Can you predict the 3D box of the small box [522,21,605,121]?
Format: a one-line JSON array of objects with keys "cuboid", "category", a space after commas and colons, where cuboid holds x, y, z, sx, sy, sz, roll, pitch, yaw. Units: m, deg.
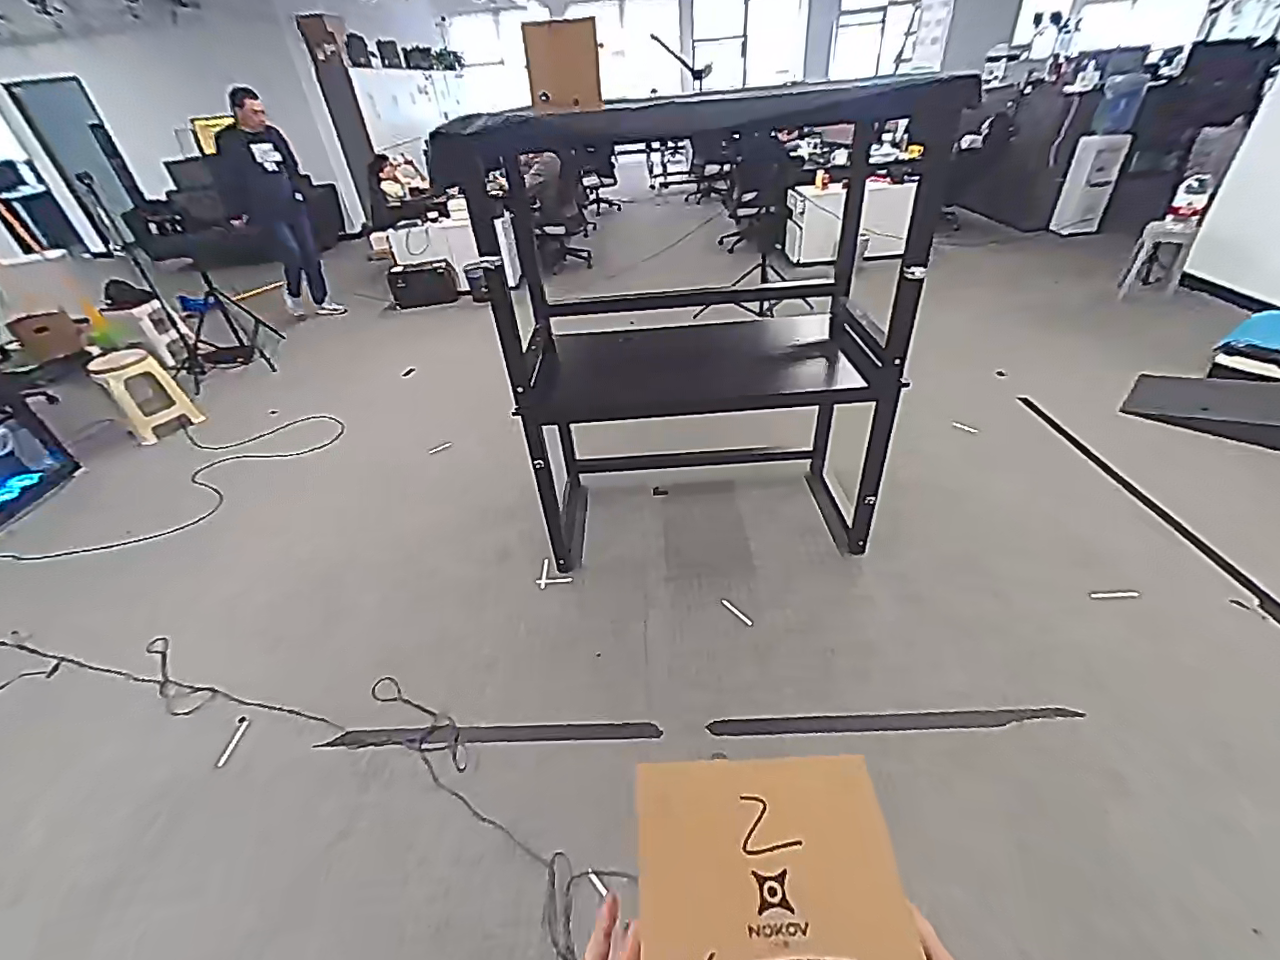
[{"cuboid": [-0.171, -0.953, 1.271, 0.168, 0.176, 0.179, -4, 34, -1], "category": "small box"}]
